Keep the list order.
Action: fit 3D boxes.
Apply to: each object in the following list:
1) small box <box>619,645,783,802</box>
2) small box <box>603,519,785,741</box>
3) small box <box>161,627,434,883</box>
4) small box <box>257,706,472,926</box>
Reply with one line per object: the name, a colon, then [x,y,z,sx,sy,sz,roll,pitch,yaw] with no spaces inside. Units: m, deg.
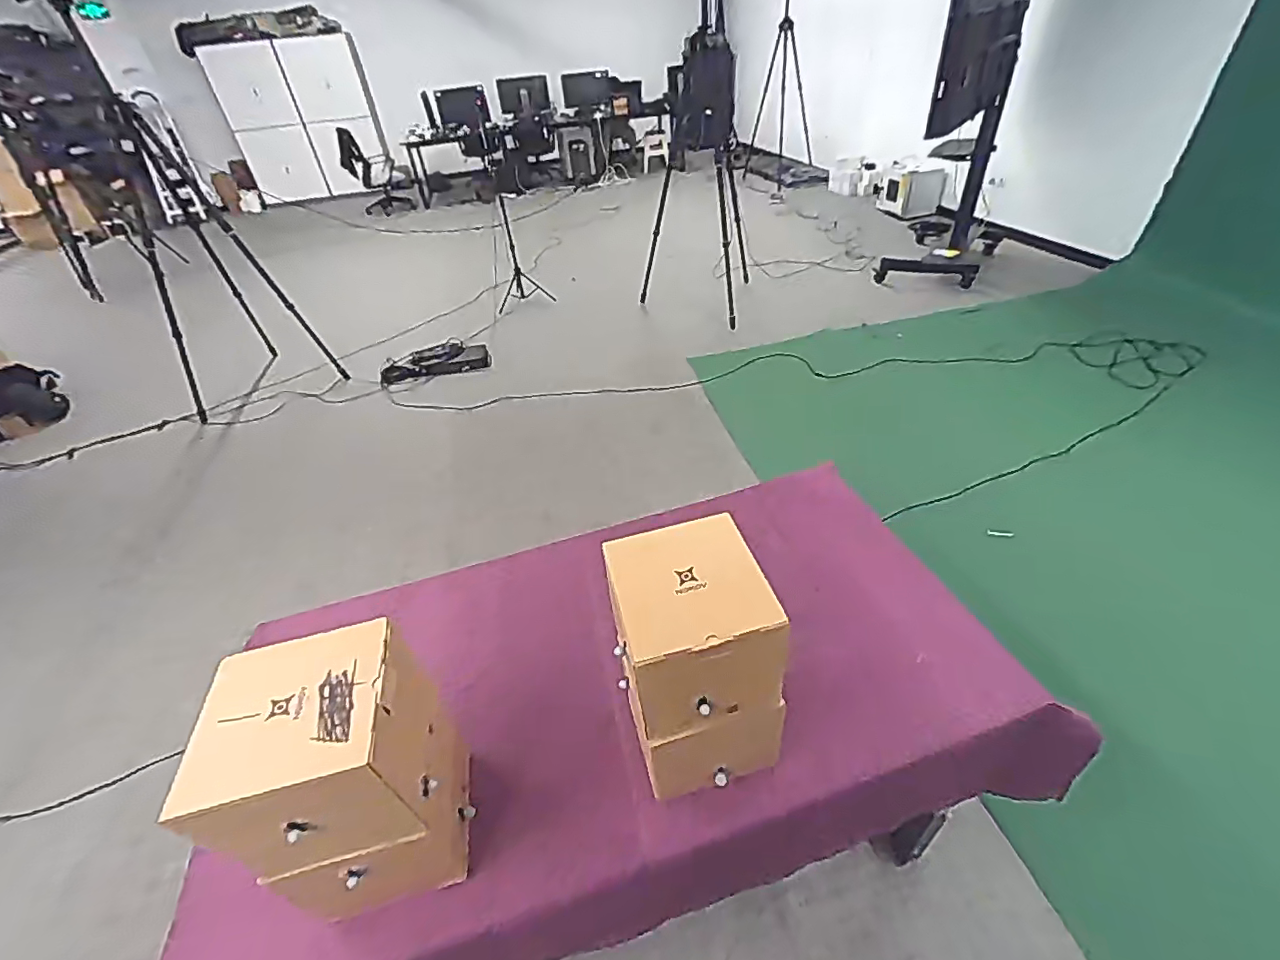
small box: [0.077,0.312,0.753,0.179,0.176,0.168,-13,39,-9]
small box: [0.058,0.179,0.659,0.168,0.176,0.179,-13,40,-8]
small box: [-0.333,0.290,0.576,0.179,0.176,0.168,-14,40,-8]
small box: [-0.323,0.420,0.677,0.179,0.176,0.168,-12,40,-8]
